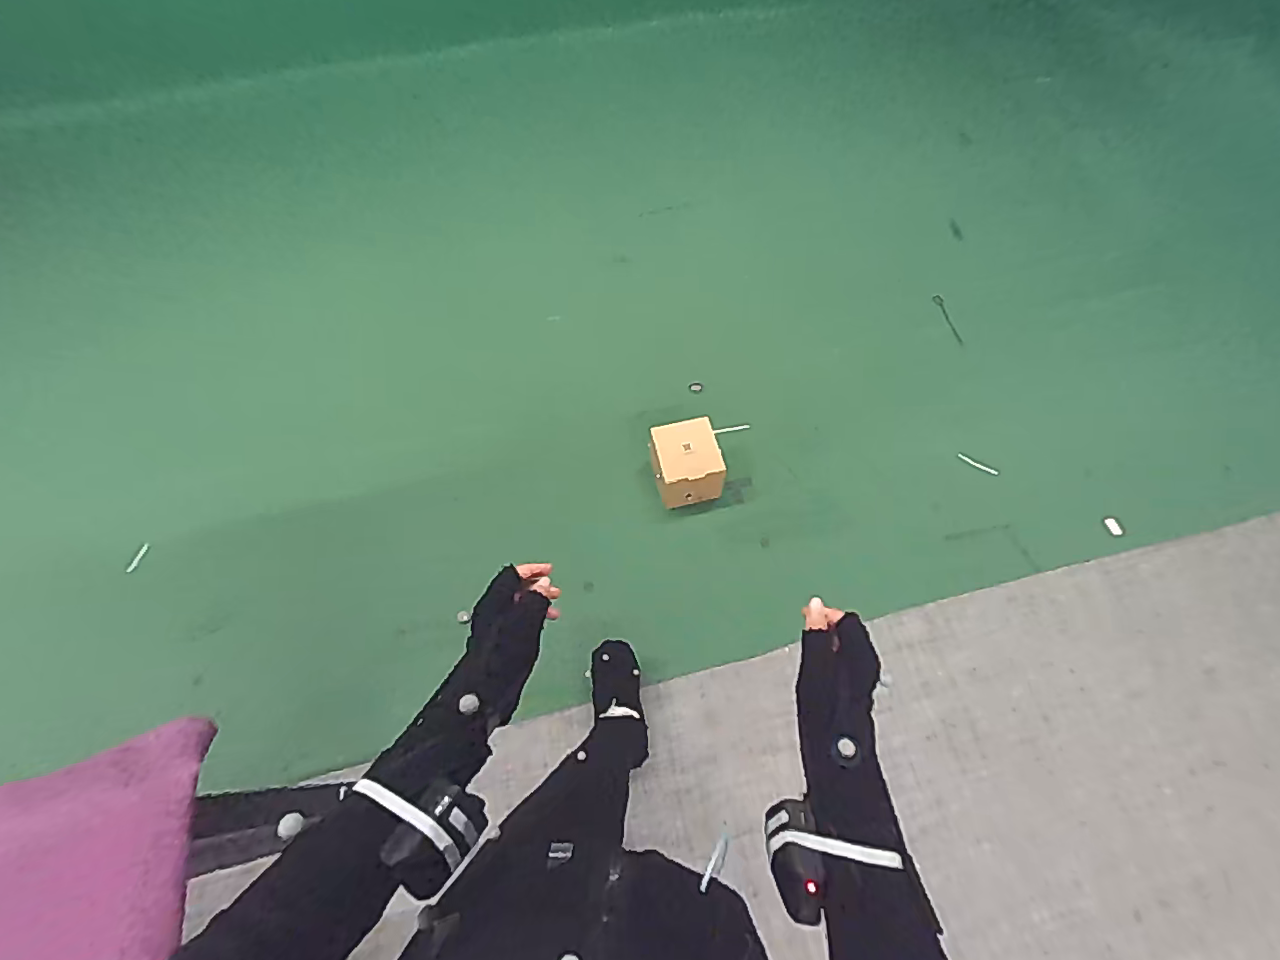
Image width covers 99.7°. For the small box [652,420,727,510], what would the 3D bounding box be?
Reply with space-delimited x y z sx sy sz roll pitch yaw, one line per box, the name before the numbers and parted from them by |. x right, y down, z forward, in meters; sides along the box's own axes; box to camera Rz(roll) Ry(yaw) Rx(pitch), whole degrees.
small box | 0.131 -0.040 1.518 0.168 0.176 0.179 -12 63 -5
